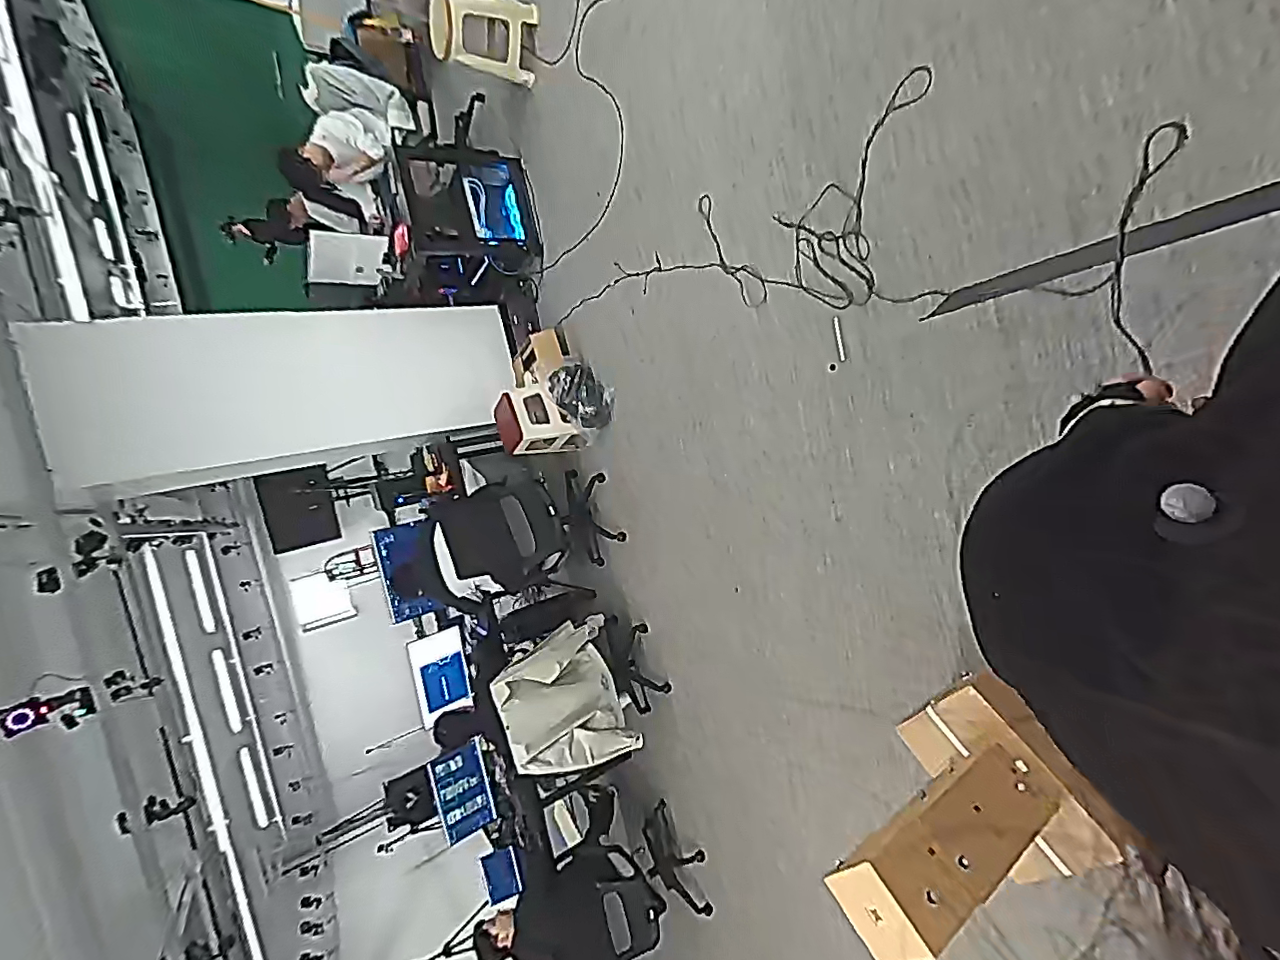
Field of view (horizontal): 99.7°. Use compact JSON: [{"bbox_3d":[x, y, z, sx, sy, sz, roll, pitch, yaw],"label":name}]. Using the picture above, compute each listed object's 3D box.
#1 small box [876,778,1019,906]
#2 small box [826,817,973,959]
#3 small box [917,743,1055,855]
[{"bbox_3d":[0.651,0.774,1.150,0.168,0.176,0.179,54,143,31],"label":"small box"},{"bbox_3d":[0.514,0.804,1.066,0.168,0.176,0.179,54,143,31],"label":"small box"},{"bbox_3d":[0.788,0.738,1.233,0.168,0.176,0.179,54,142,31],"label":"small box"}]
